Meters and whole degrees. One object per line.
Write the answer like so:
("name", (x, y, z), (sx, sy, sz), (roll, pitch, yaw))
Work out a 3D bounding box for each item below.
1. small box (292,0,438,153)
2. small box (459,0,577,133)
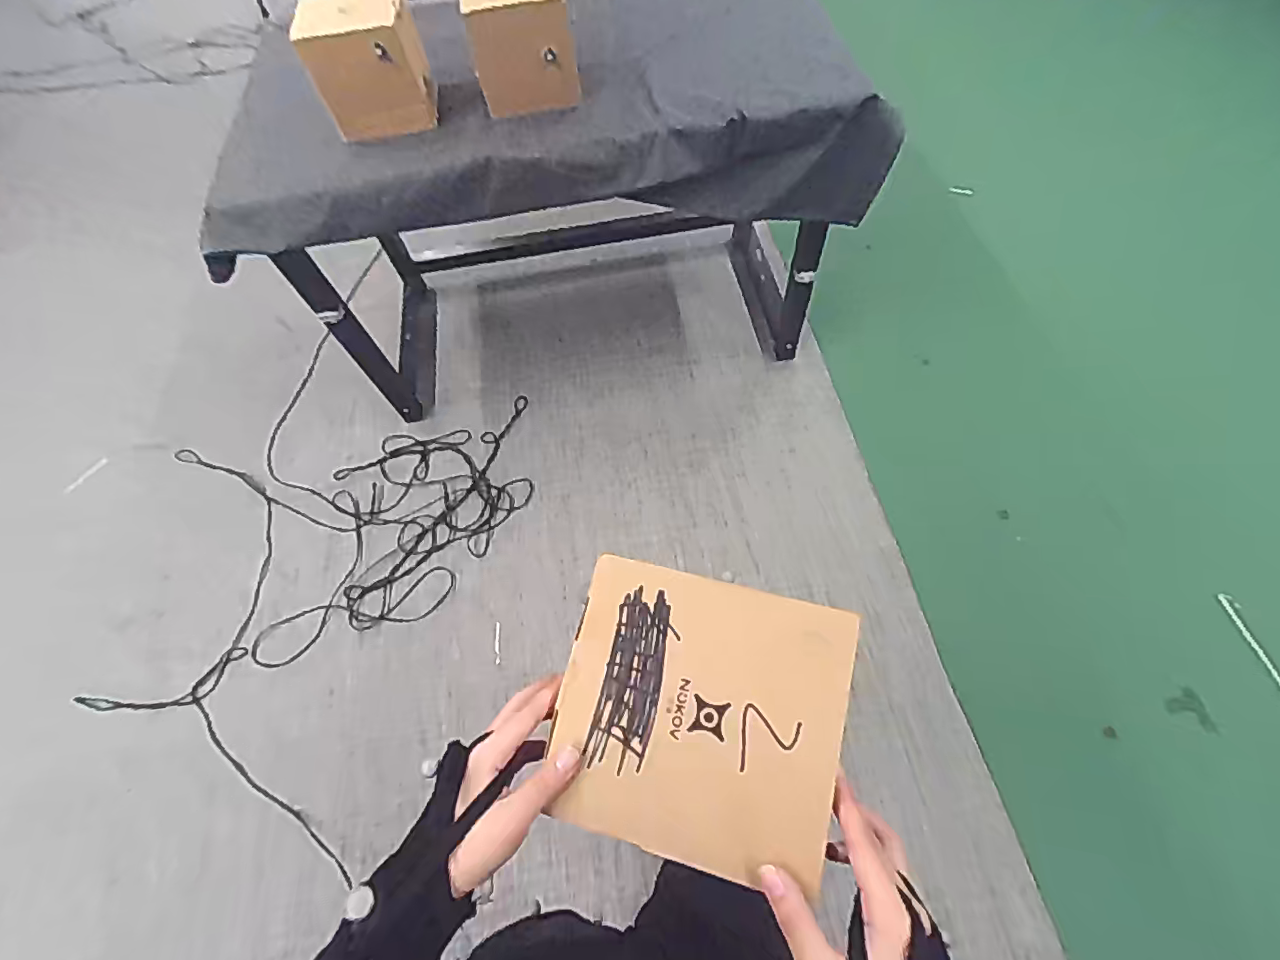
("small box", (-0.494, -0.733, 0.995), (0.179, 0.176, 0.168), (-11, 61, -1))
("small box", (-0.216, -0.778, 0.995), (0.179, 0.176, 0.168), (-11, 60, 0))
